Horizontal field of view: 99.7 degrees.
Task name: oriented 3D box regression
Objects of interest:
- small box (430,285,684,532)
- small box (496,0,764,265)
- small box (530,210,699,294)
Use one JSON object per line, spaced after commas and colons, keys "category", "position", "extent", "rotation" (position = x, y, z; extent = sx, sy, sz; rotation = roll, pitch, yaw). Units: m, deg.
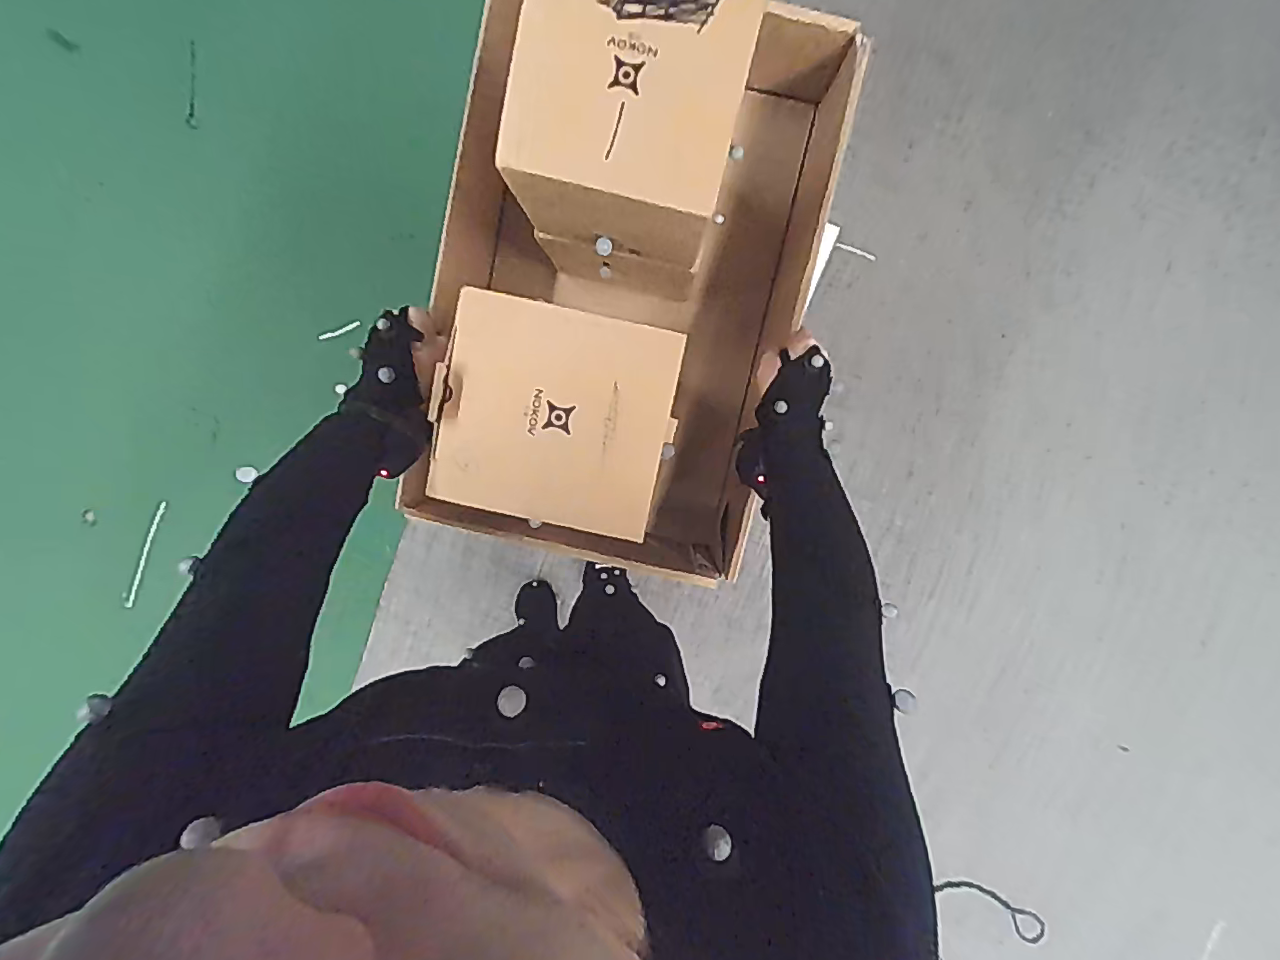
{"category": "small box", "position": [-0.067, -0.063, 0.501], "extent": [0.179, 0.176, 0.168], "rotation": [11, 98, -3]}
{"category": "small box", "position": [-0.009, -0.309, 0.465], "extent": [0.168, 0.176, 0.179], "rotation": [13, 99, -2]}
{"category": "small box", "position": [-0.011, -0.327, 0.629], "extent": [0.179, 0.176, 0.168], "rotation": [13, 99, -1]}
